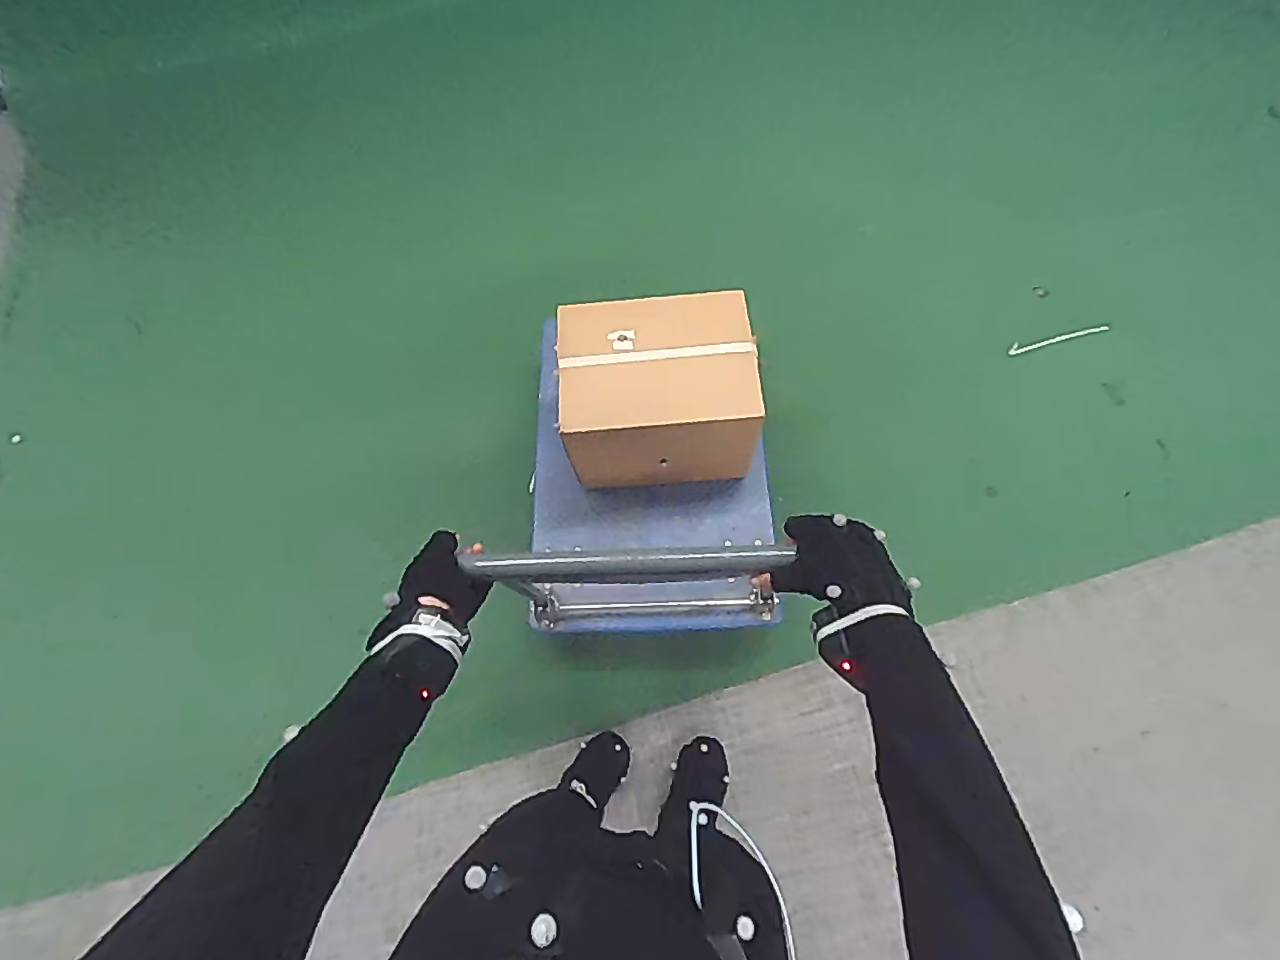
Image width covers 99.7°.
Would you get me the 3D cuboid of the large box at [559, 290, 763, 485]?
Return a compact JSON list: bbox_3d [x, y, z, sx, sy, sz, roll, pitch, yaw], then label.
[{"bbox_3d":[0.043,-0.196,1.256,0.408,0.320,0.320,-5,68,2],"label":"large box"}]
